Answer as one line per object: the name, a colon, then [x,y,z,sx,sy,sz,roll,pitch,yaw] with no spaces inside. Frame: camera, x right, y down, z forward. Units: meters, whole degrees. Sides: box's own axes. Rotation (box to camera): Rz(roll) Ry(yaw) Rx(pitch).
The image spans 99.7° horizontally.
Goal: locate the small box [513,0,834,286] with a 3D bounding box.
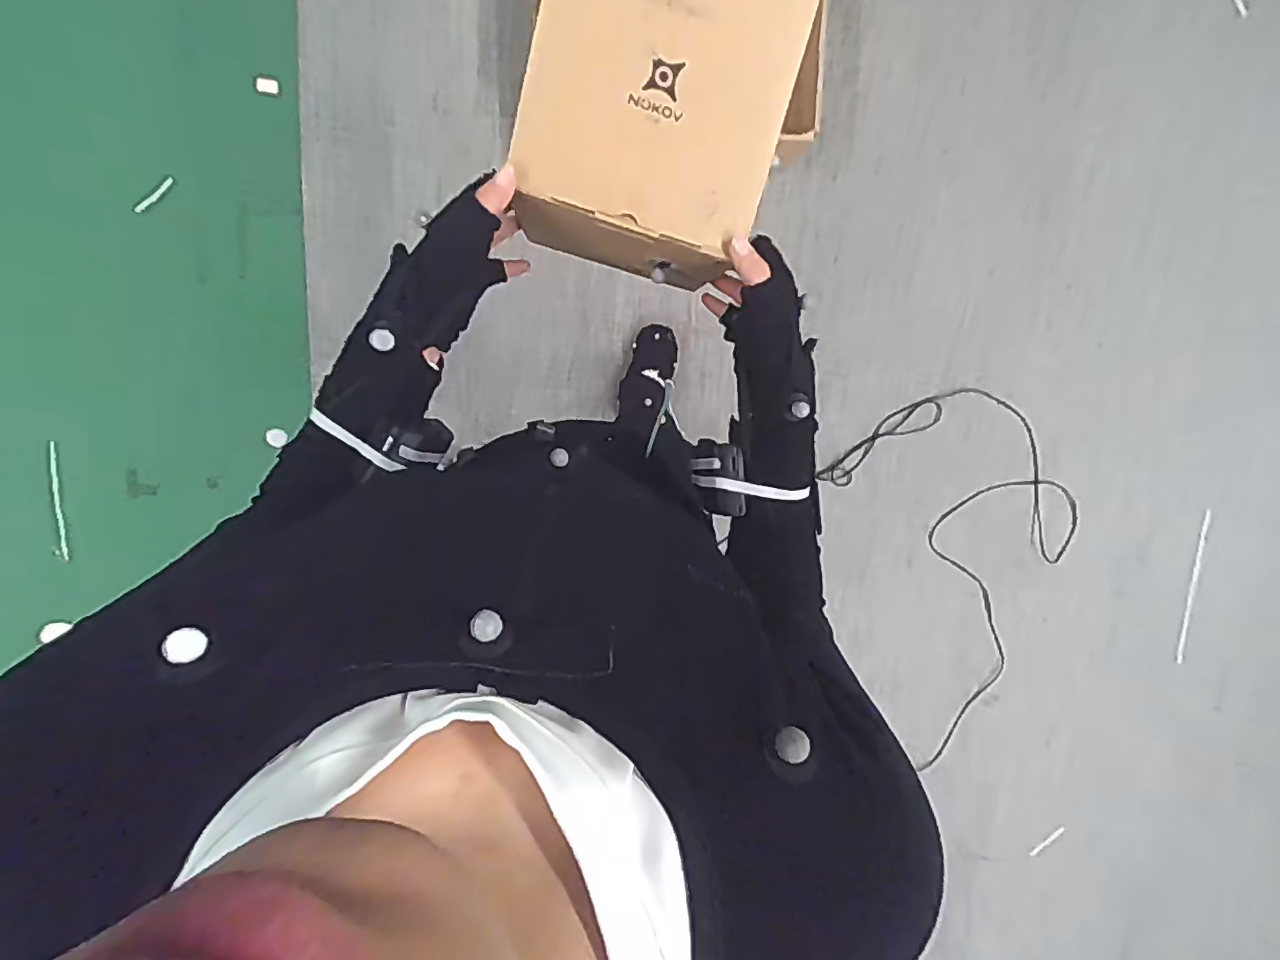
small box: [0.012,-0.264,0.415,0.168,0.176,0.179,15,101,-10]
